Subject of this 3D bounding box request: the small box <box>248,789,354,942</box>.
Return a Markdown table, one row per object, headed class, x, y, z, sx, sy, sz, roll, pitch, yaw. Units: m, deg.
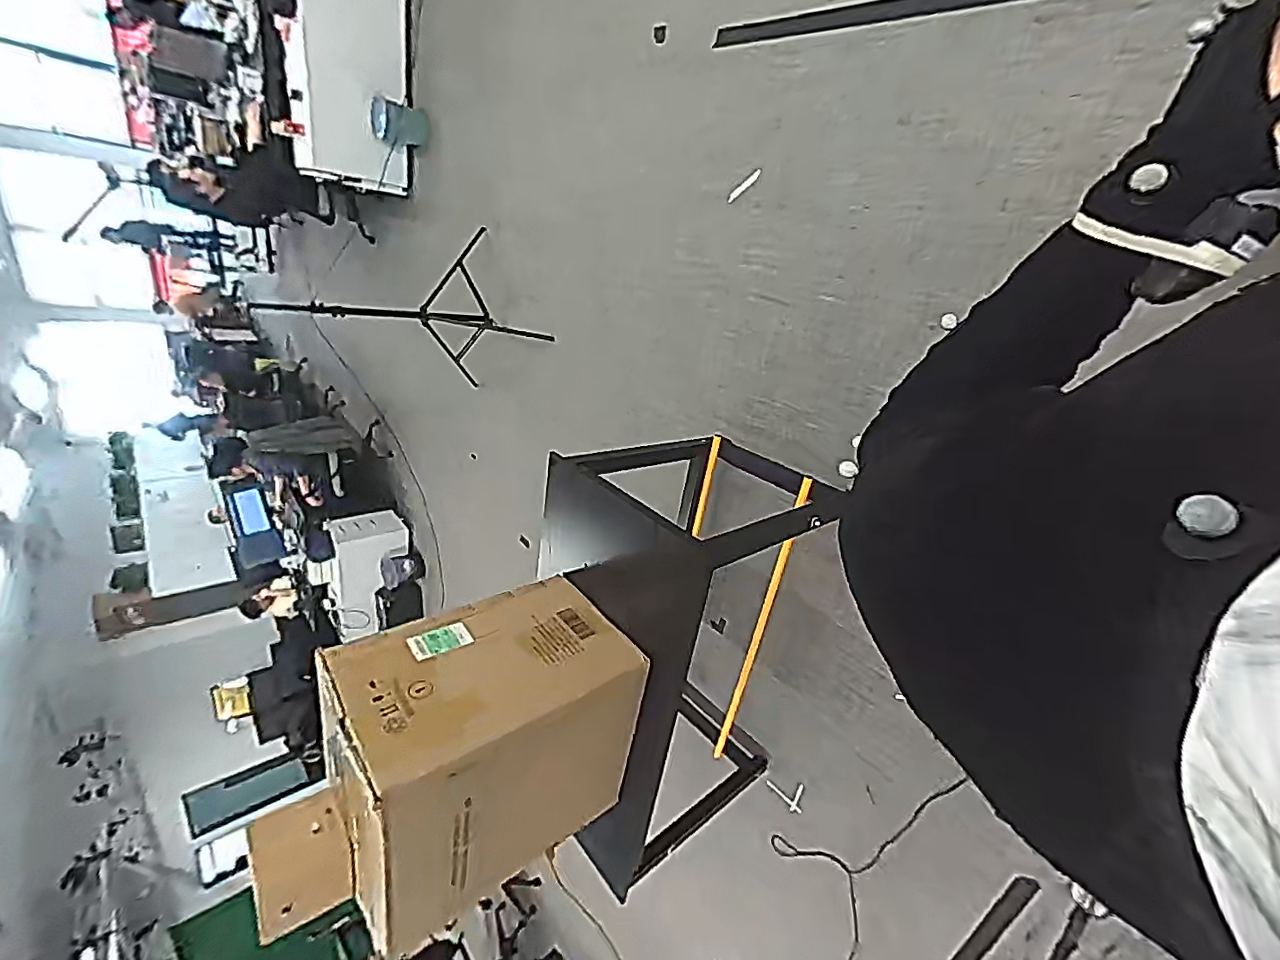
| class | x | y | z | sx | sy | sz | roll | pitch | yaw |
| --- | --- | --- | --- | --- | --- | --- | --- | --- | --- |
| small box | -0.724 | 0.819 | 1.163 | 0.168 | 0.176 | 0.179 | 34 | 121 | 41 |
